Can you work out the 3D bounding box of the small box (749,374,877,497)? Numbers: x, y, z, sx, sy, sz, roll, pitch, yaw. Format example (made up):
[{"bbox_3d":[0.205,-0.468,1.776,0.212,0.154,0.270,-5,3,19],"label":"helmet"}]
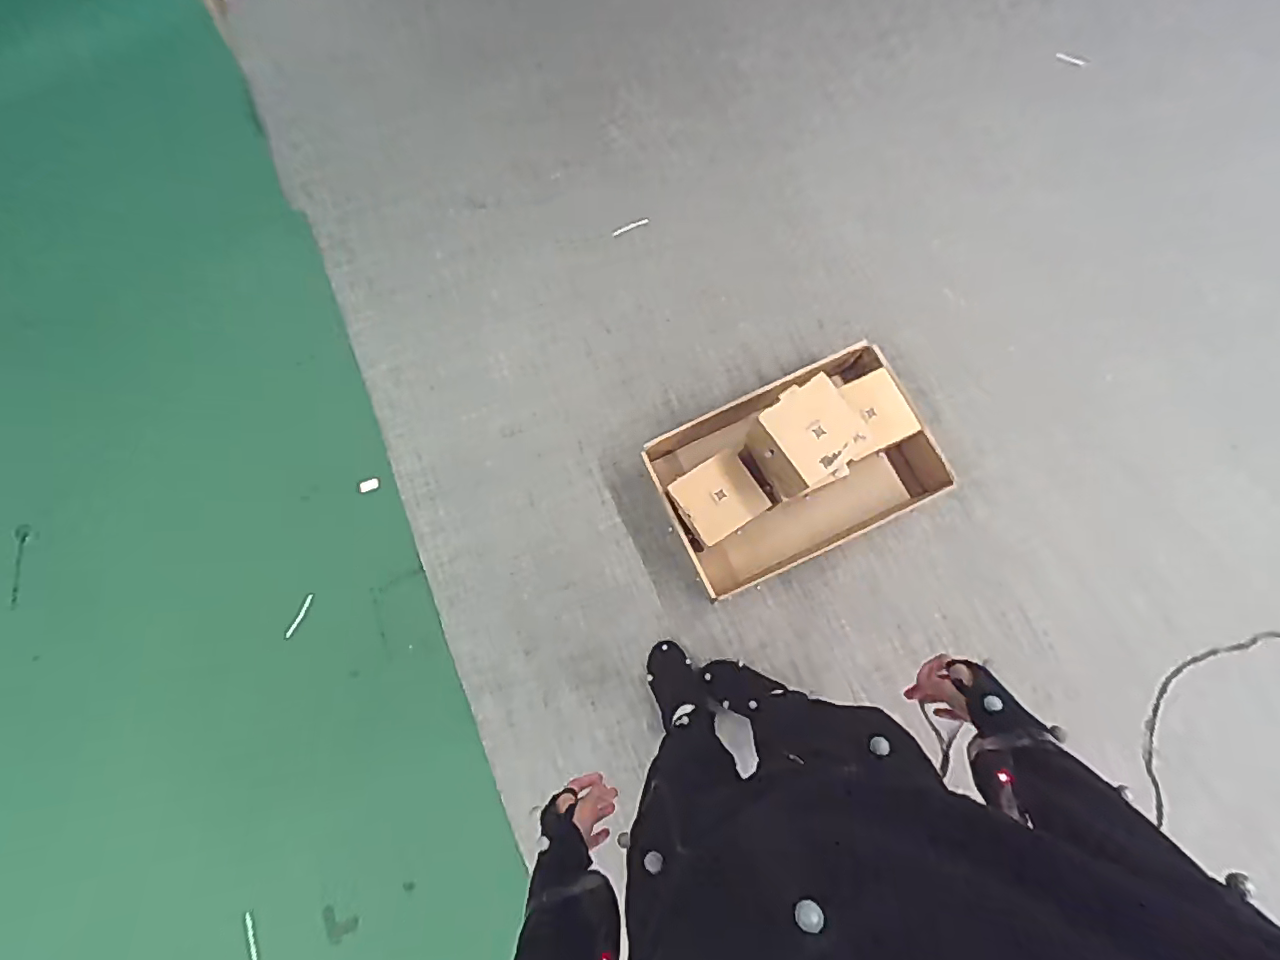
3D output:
[{"bbox_3d":[0.348,-0.084,1.130,0.168,0.176,0.179,-34,79,-3],"label":"small box"}]
